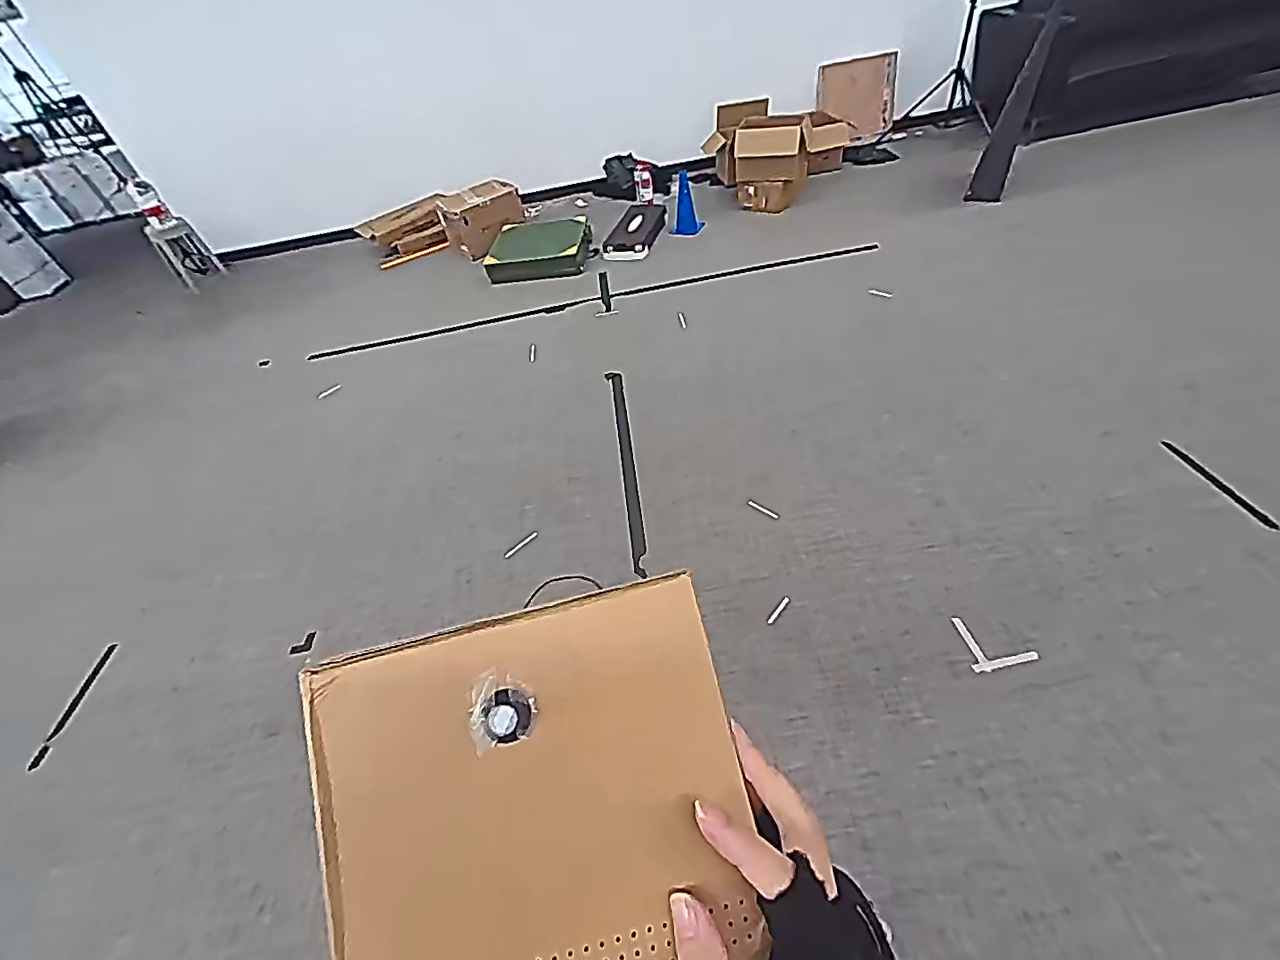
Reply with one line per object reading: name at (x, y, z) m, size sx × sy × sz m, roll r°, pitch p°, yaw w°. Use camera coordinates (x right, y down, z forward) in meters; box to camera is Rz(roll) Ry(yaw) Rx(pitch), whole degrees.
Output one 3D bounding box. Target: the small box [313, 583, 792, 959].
small box at (-0.041, 0.162, 0.299) m, size 0.179 × 0.168 × 0.176 m, roll -13°, pitch 79°, yaw -4°
